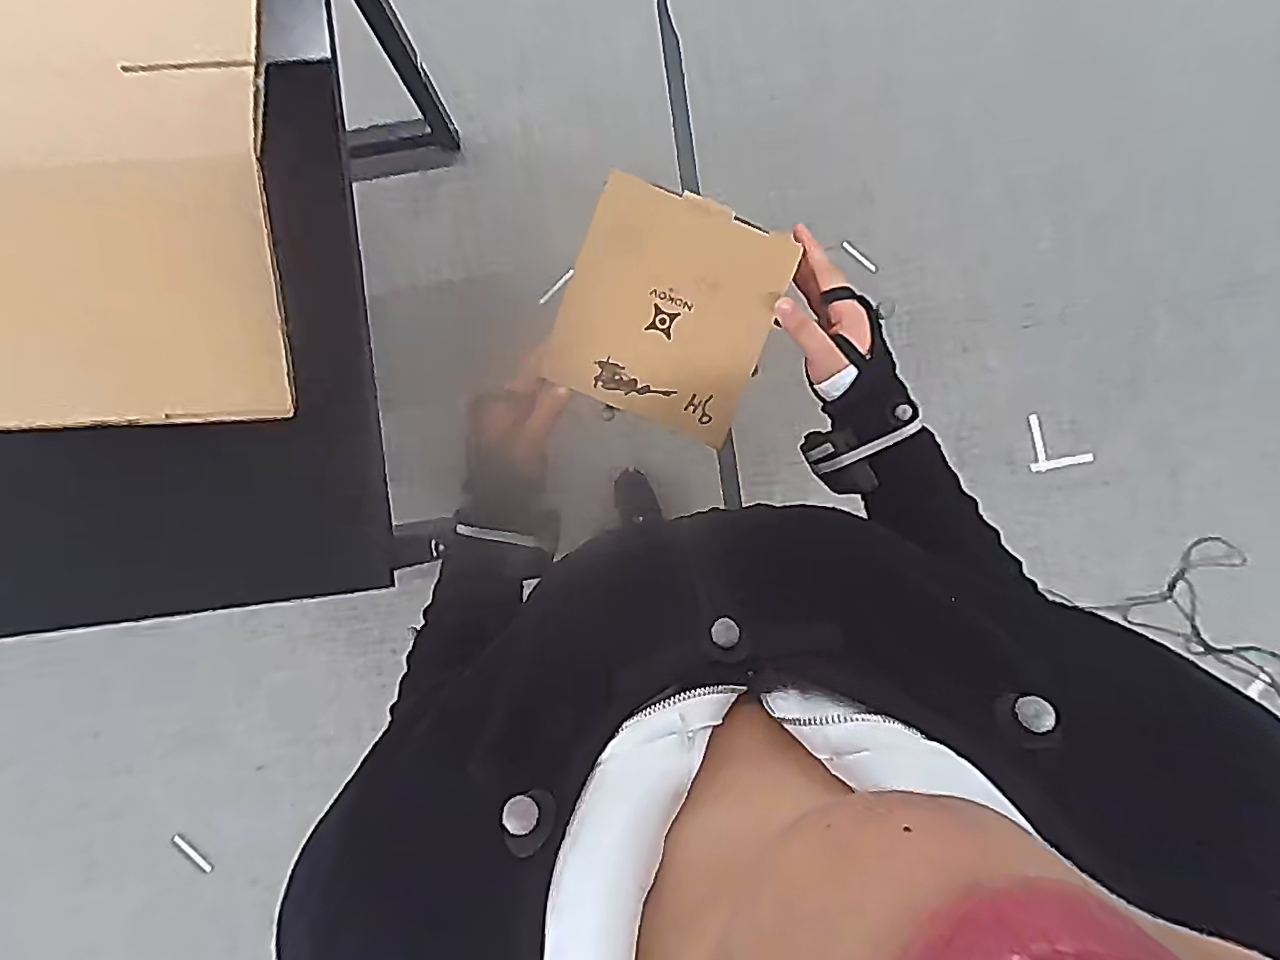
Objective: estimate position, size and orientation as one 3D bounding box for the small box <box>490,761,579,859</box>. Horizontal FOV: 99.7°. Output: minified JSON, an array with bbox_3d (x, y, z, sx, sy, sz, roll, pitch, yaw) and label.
[{"bbox_3d":[-0.266,0.854,1.392,0.179,0.176,0.168,-12,87,0],"label":"small box"}]

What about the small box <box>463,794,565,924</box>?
[{"bbox_3d":[-0.275,0.849,1.230,0.179,0.176,0.168,-15,86,2],"label":"small box"}]

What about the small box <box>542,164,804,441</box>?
[{"bbox_3d":[0.028,-0.148,0.515,0.168,0.176,0.179,23,96,1],"label":"small box"}]
